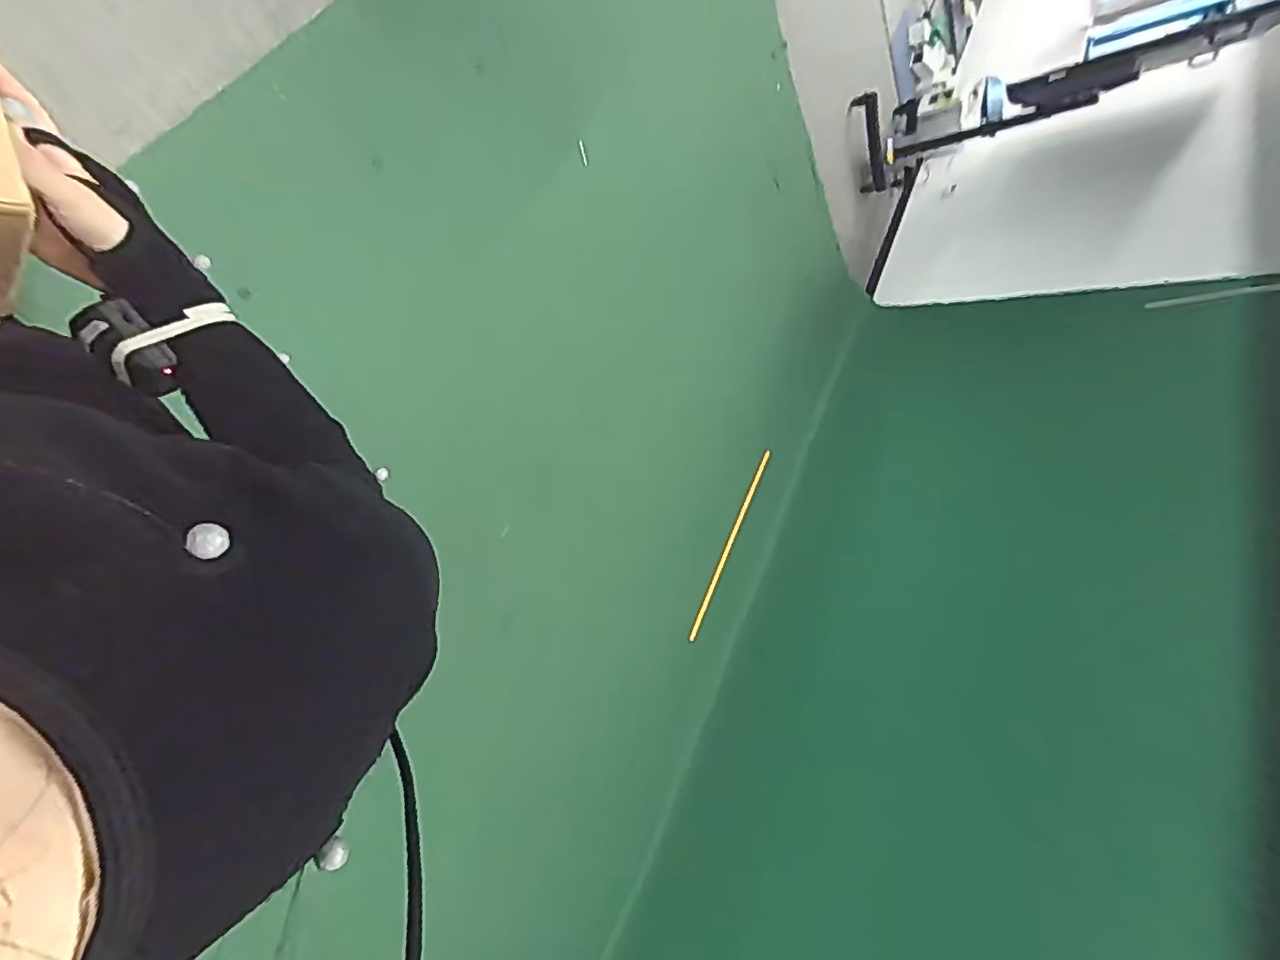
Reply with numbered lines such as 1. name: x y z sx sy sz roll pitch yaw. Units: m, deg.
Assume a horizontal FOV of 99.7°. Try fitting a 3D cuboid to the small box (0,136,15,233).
1. small box: -0.466 -0.212 0.266 0.168 0.176 0.179 -20 99 -54
